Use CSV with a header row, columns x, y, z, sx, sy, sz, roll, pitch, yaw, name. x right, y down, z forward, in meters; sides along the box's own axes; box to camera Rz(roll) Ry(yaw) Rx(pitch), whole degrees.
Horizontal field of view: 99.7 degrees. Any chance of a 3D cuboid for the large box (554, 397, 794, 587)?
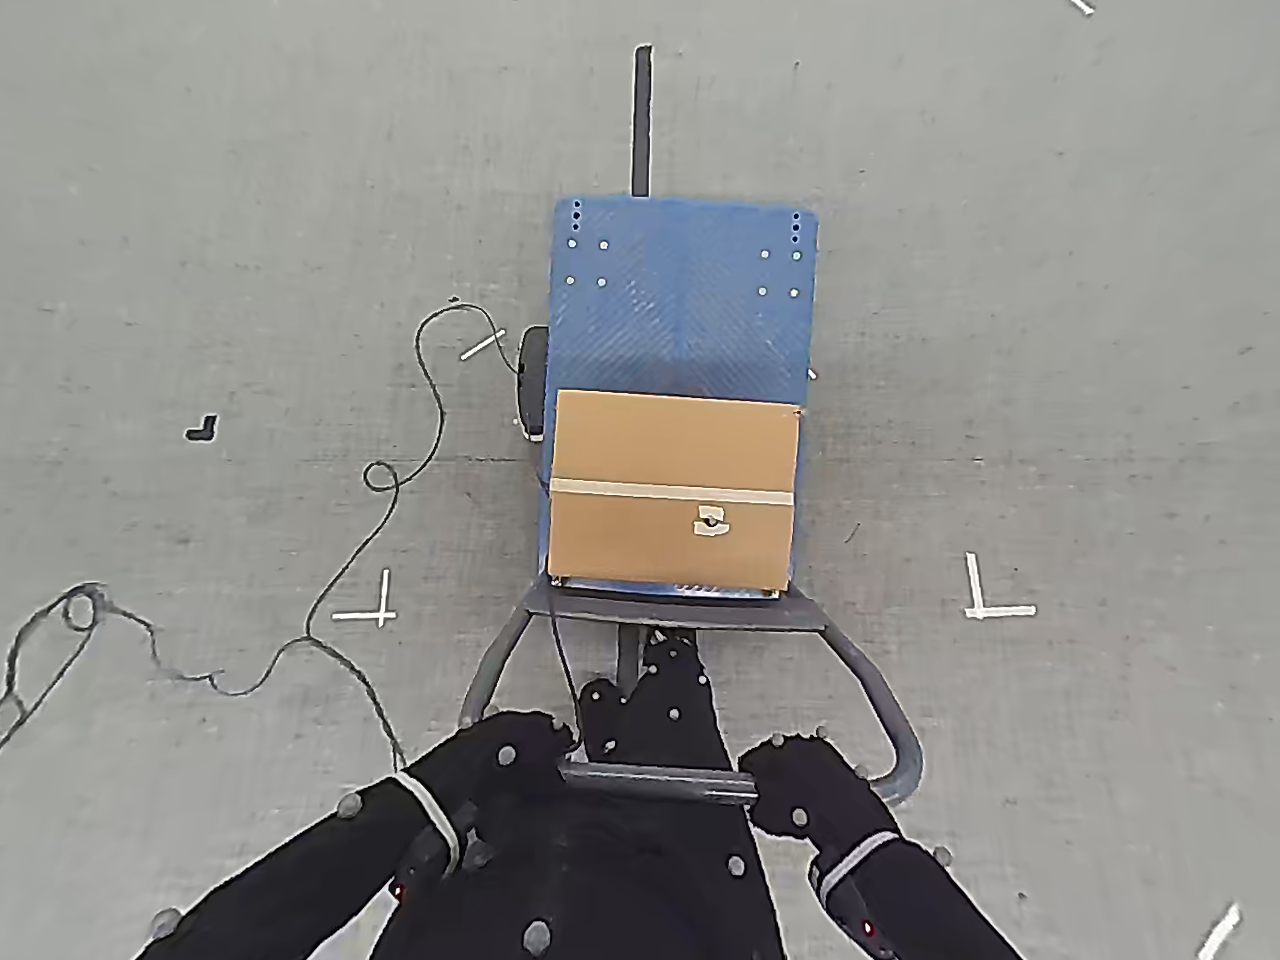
x,y,z,sx,sy,sz,roll,pitch,yaw,name
0.055,0.019,1.071,0.408,0.320,0.320,4,93,-1,large box
